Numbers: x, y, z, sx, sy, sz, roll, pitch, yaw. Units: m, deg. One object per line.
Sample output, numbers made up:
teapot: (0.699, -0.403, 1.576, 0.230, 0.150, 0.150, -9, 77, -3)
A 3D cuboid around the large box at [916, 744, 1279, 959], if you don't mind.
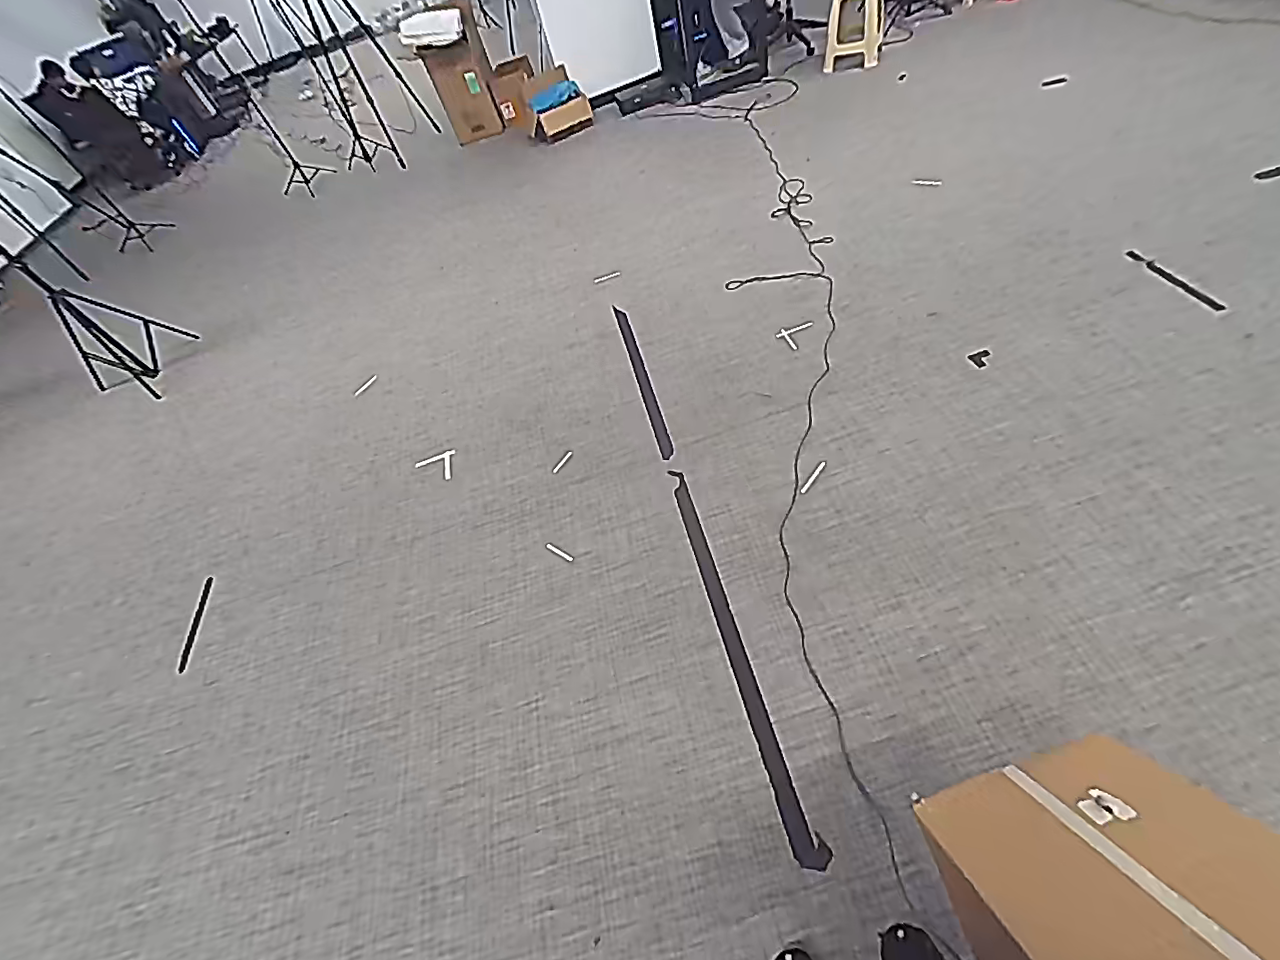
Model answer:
large box: (0.620, 0.597, 0.633, 0.320, 0.408, 0.320, -21, 88, 1)
